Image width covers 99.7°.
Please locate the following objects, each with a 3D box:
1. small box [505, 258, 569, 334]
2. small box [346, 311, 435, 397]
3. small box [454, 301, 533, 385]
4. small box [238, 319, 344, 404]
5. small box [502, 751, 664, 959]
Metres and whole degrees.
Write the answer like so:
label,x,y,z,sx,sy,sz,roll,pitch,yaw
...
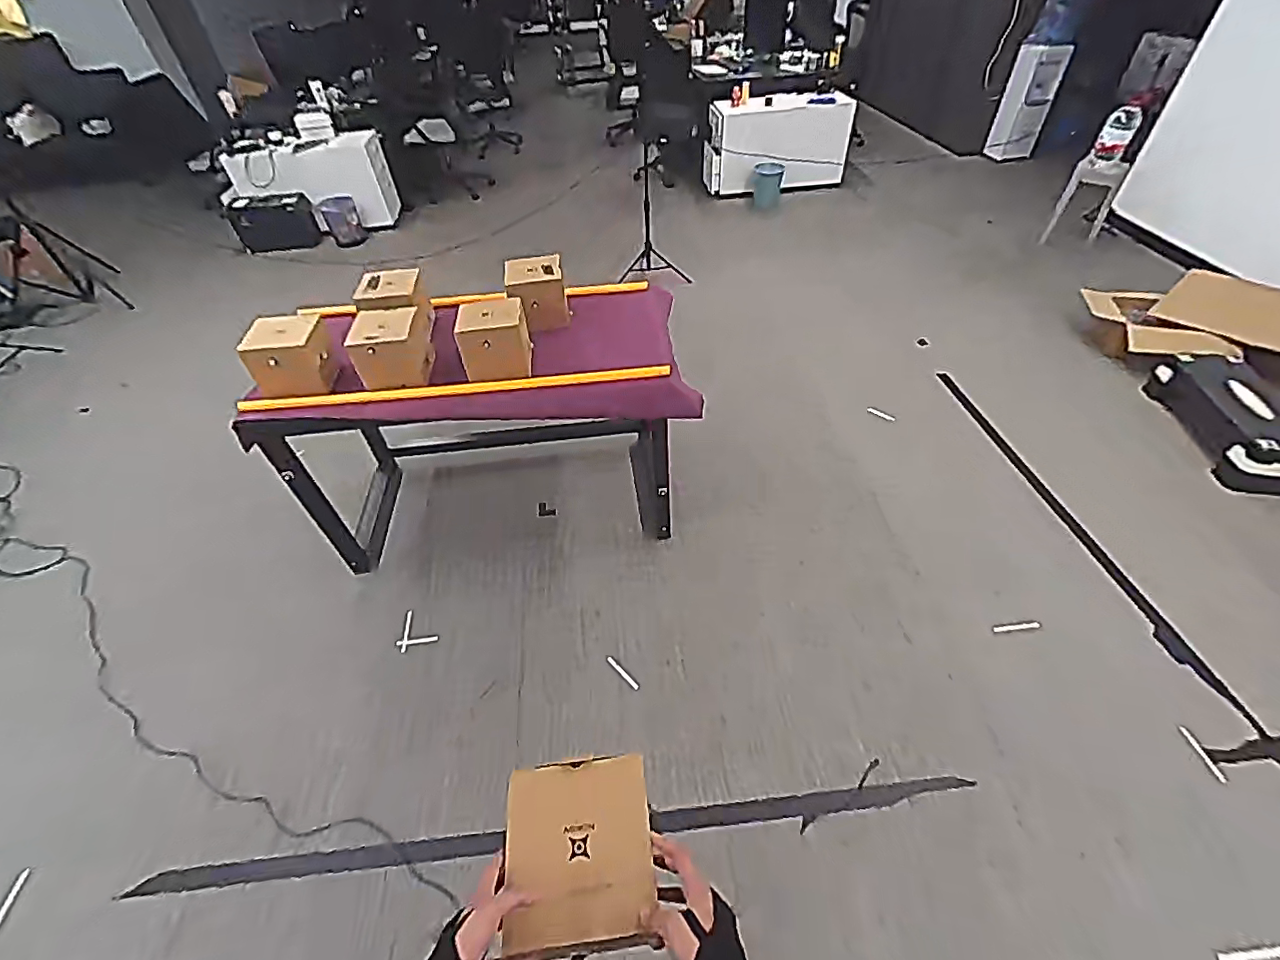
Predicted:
label,x,y,z,sx,sy,sz,roll,pitch,yaw
small box,-0.324,-0.583,1.726,0.179,0.176,0.168,-9,47,-3
small box,-0.696,-0.356,1.535,0.168,0.176,0.179,-7,46,-2
small box,-0.411,-0.387,1.542,0.179,0.176,0.168,-7,45,-3
small box,-0.975,-0.335,1.533,0.179,0.176,0.168,-7,45,-3
small box,-0.064,0.457,0.656,0.168,0.176,0.179,-6,45,-3
